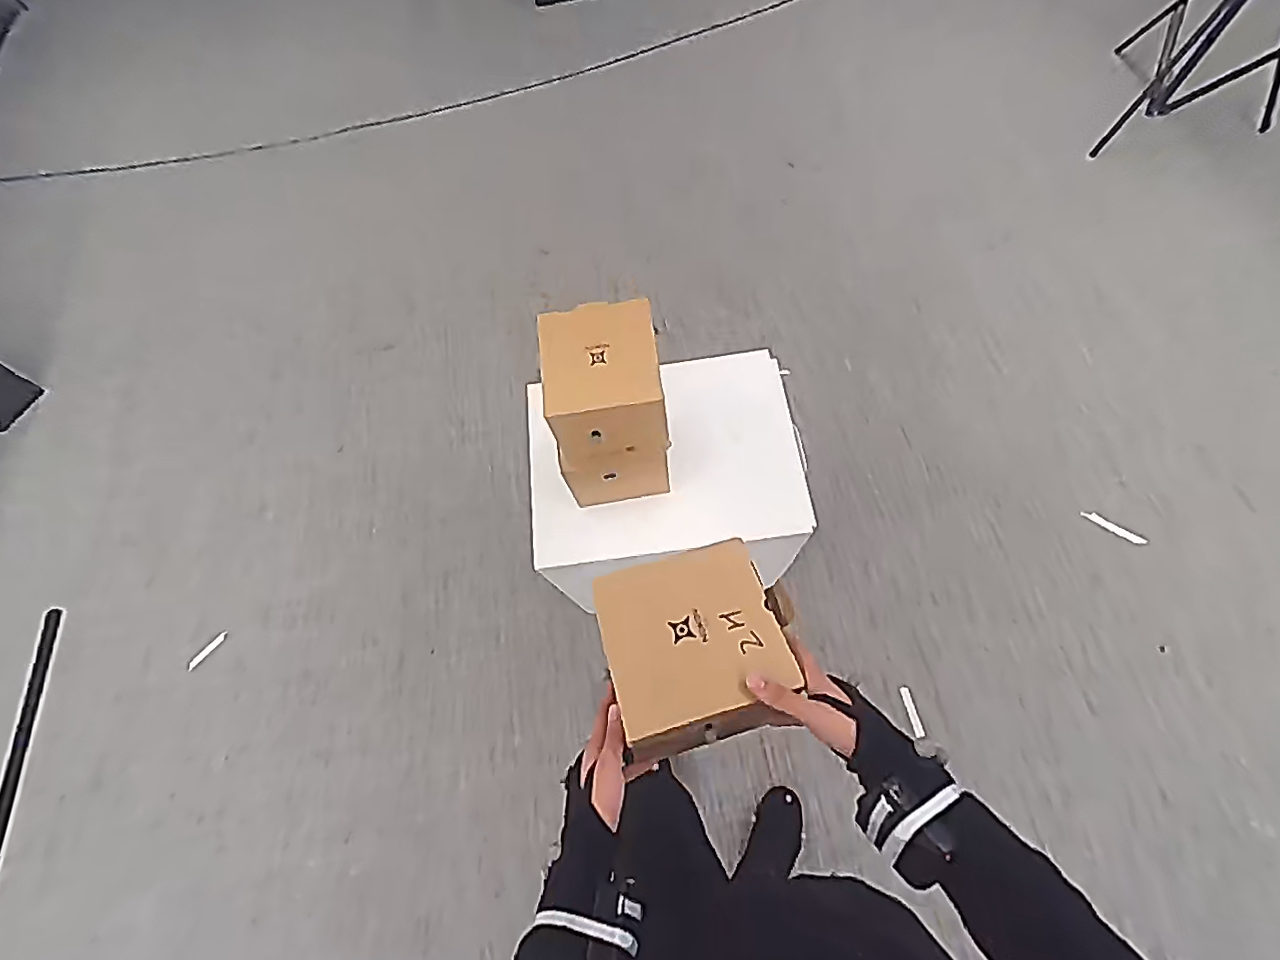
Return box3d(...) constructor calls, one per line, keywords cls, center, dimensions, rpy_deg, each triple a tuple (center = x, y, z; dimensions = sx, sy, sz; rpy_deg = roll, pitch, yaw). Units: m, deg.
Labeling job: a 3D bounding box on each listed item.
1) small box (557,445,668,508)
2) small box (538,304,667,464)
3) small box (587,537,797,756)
box3d(cls="small box", center=(-0.048, -0.060, 0.975), dimensions=(0.179, 0.176, 0.168), rpy_deg=(-10, 67, 0))
box3d(cls="small box", center=(-0.052, -0.136, 0.830), dimensions=(0.168, 0.176, 0.179), rpy_deg=(-9, 66, 2))
box3d(cls="small box", center=(0.051, 0.193, 0.608), dimensions=(0.179, 0.176, 0.168), rpy_deg=(-15, 56, -6))
